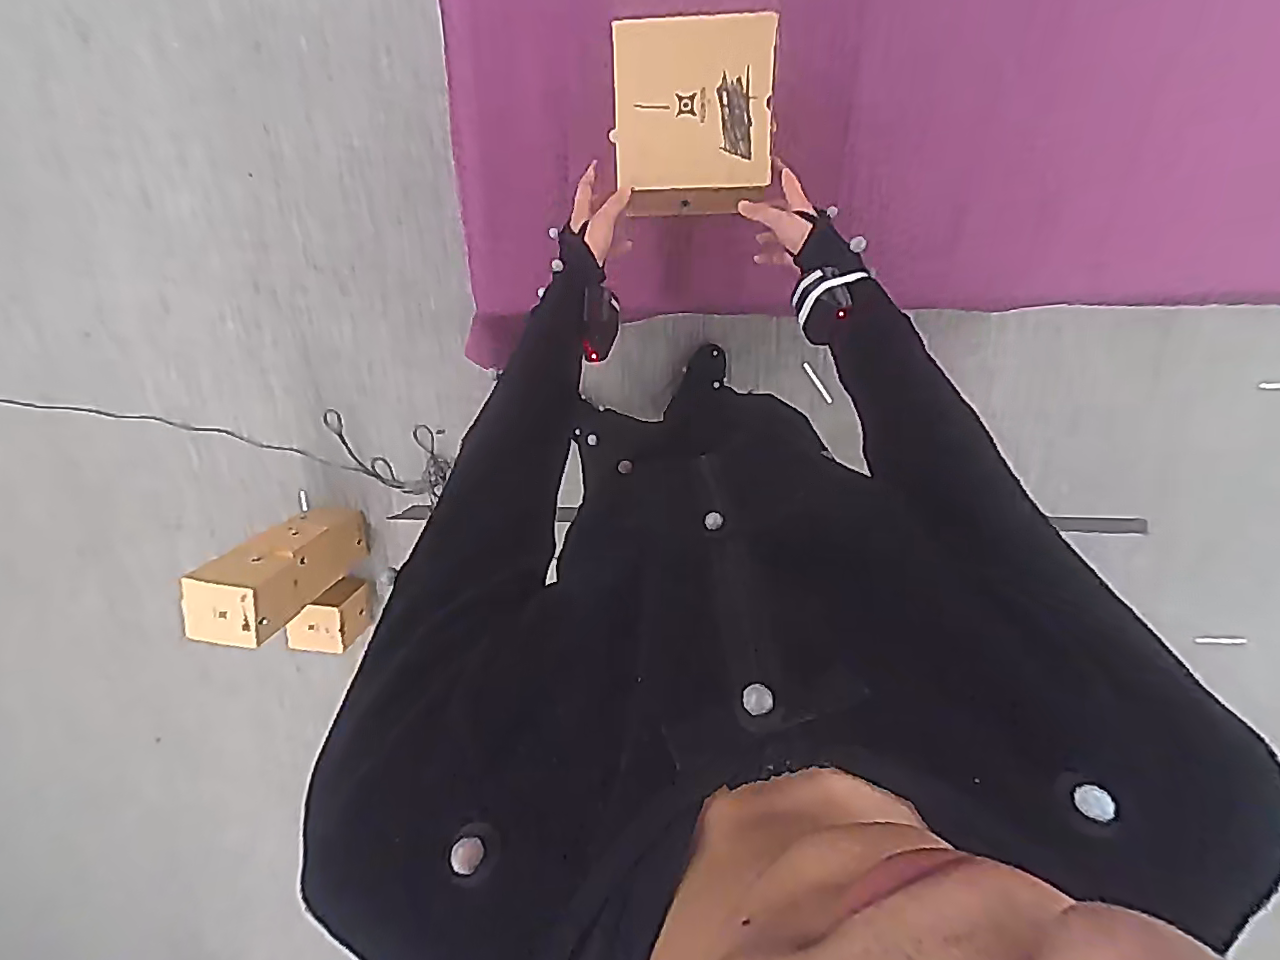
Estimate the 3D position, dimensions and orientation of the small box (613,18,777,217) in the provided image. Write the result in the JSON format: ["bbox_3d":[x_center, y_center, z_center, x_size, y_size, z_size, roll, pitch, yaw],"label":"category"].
[{"bbox_3d":[0.061,-0.430,0.669,0.179,0.176,0.168,0,106,3],"label":"small box"}]

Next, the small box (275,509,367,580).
[{"bbox_3d":[-0.977,0.194,1.665,0.179,0.176,0.168,1,108,2],"label":"small box"}]

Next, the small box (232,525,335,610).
[{"bbox_3d":[-0.984,0.241,1.510,0.168,0.176,0.179,2,107,2],"label":"small box"}]

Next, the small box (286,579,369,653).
[{"bbox_3d":[-1.000,0.429,1.736,0.179,0.176,0.168,5,108,1],"label":"small box"}]

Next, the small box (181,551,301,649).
[{"bbox_3d":[-0.990,0.292,1.354,0.179,0.176,0.168,10,107,1],"label":"small box"}]
